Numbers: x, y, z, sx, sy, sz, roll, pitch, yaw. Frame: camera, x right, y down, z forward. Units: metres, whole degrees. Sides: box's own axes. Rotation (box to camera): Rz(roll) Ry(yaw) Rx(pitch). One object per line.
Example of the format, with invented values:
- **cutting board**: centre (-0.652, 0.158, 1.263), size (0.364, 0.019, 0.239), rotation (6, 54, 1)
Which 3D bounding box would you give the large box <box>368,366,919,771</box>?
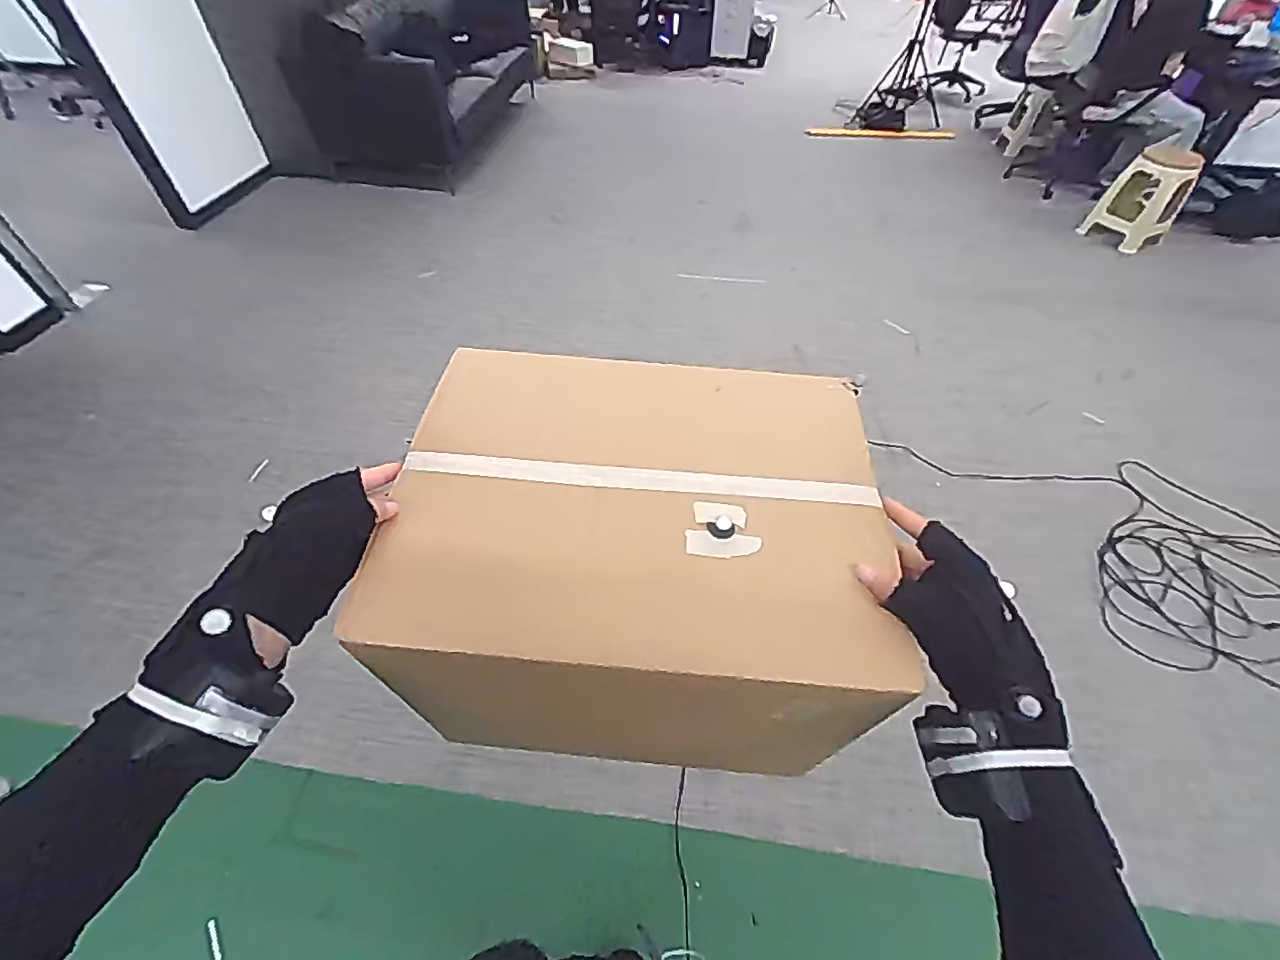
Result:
- **large box**: centre (0.003, 0.105, 0.589), size (0.408, 0.320, 0.320), rotation (5, 52, 0)
